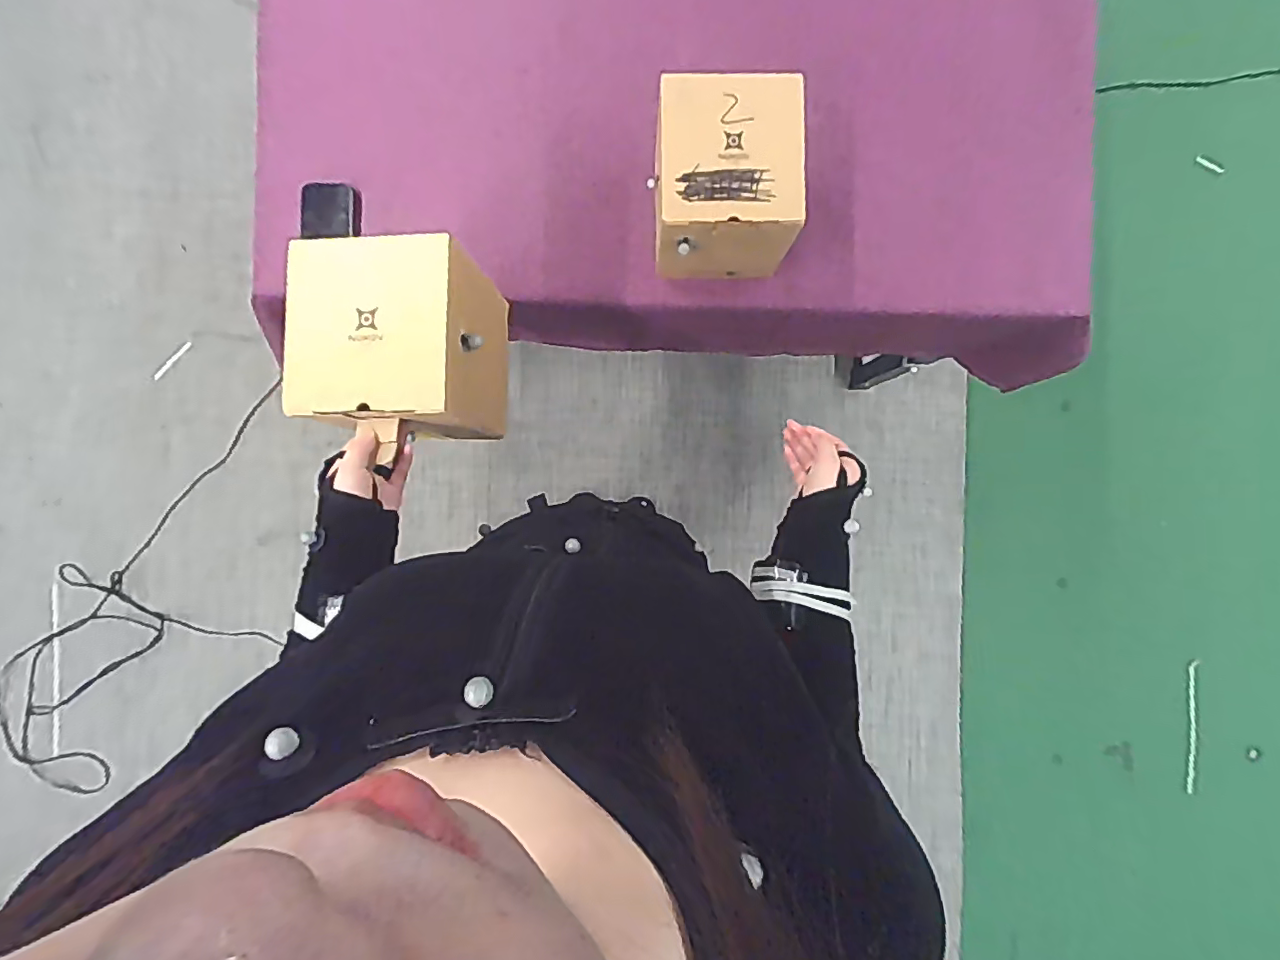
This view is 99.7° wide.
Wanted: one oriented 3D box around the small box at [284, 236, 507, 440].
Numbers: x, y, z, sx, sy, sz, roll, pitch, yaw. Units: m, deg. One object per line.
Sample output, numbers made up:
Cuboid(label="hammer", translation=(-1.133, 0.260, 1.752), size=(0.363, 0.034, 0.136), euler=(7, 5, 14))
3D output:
Cuboid(label="small box", translation=(-0.253, -0.143, 0.597), size=(0.168, 0.176, 0.179), euler=(0, 87, 4))
